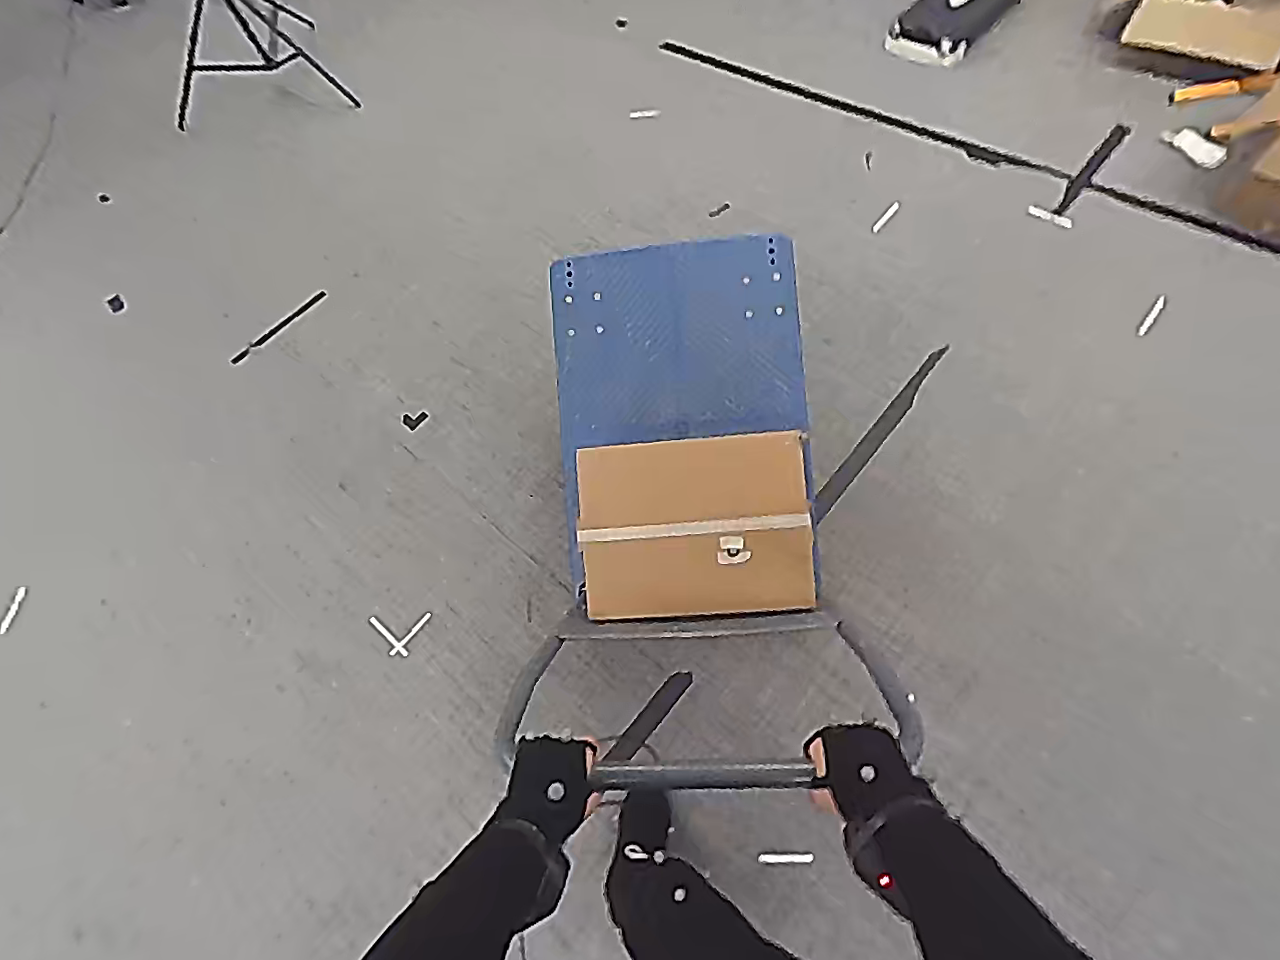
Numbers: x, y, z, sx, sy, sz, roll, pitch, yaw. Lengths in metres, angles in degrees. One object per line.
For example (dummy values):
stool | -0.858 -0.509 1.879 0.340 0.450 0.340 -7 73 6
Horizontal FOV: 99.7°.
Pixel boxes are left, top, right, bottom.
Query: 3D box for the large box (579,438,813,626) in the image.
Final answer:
large box | 0.108 0.102 1.128 0.408 0.320 0.320 -5 88 4
